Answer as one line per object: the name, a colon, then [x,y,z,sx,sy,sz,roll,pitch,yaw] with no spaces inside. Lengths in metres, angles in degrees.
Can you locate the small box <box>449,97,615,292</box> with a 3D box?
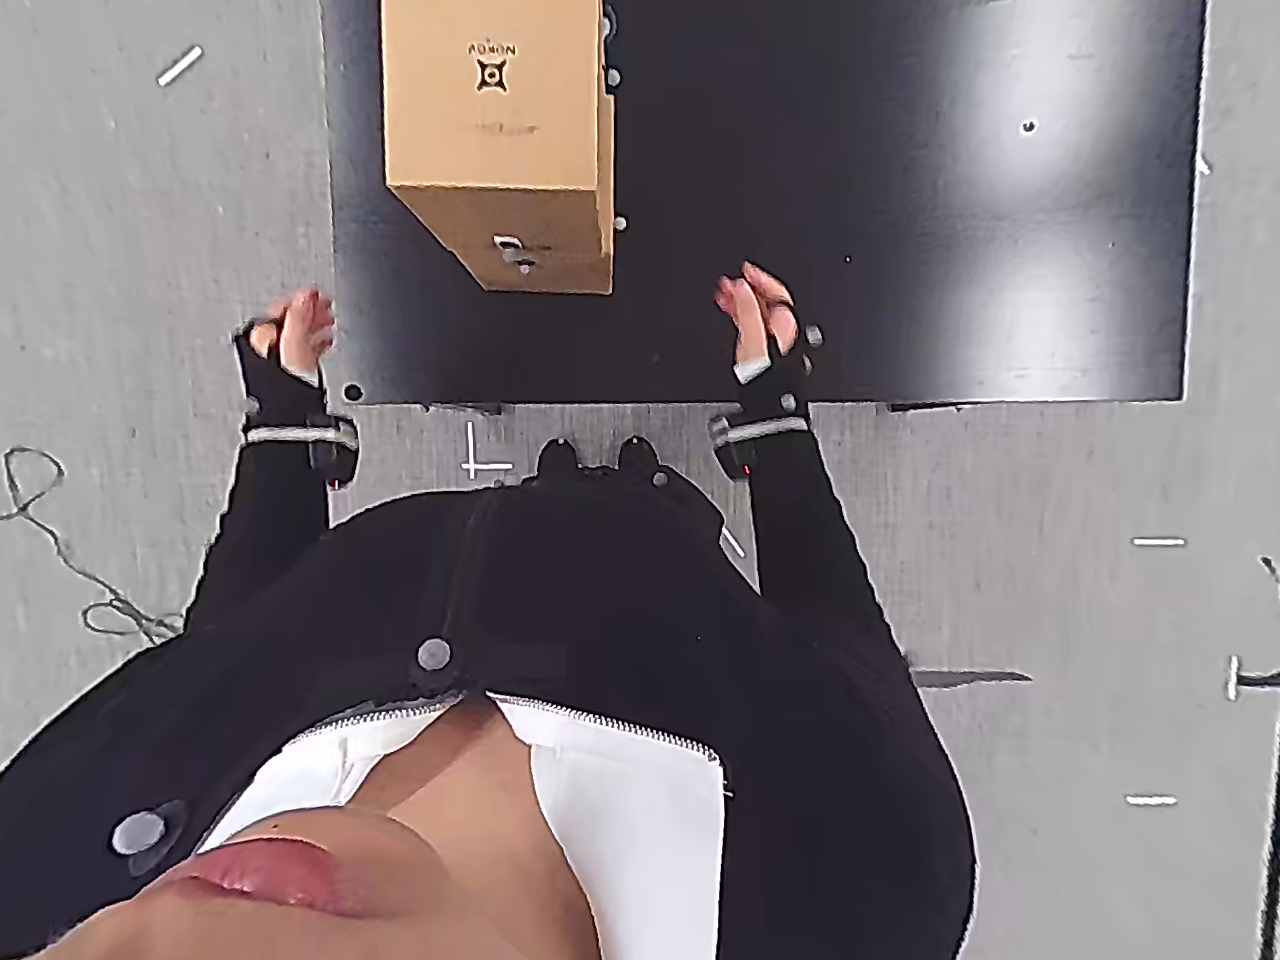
small box: [-0.121,-0.336,0.659,0.179,0.176,0.168,1,94,-4]

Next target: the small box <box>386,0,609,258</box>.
small box: [-0.115,-0.323,0.497,0.168,0.176,0.179,0,95,-1]
